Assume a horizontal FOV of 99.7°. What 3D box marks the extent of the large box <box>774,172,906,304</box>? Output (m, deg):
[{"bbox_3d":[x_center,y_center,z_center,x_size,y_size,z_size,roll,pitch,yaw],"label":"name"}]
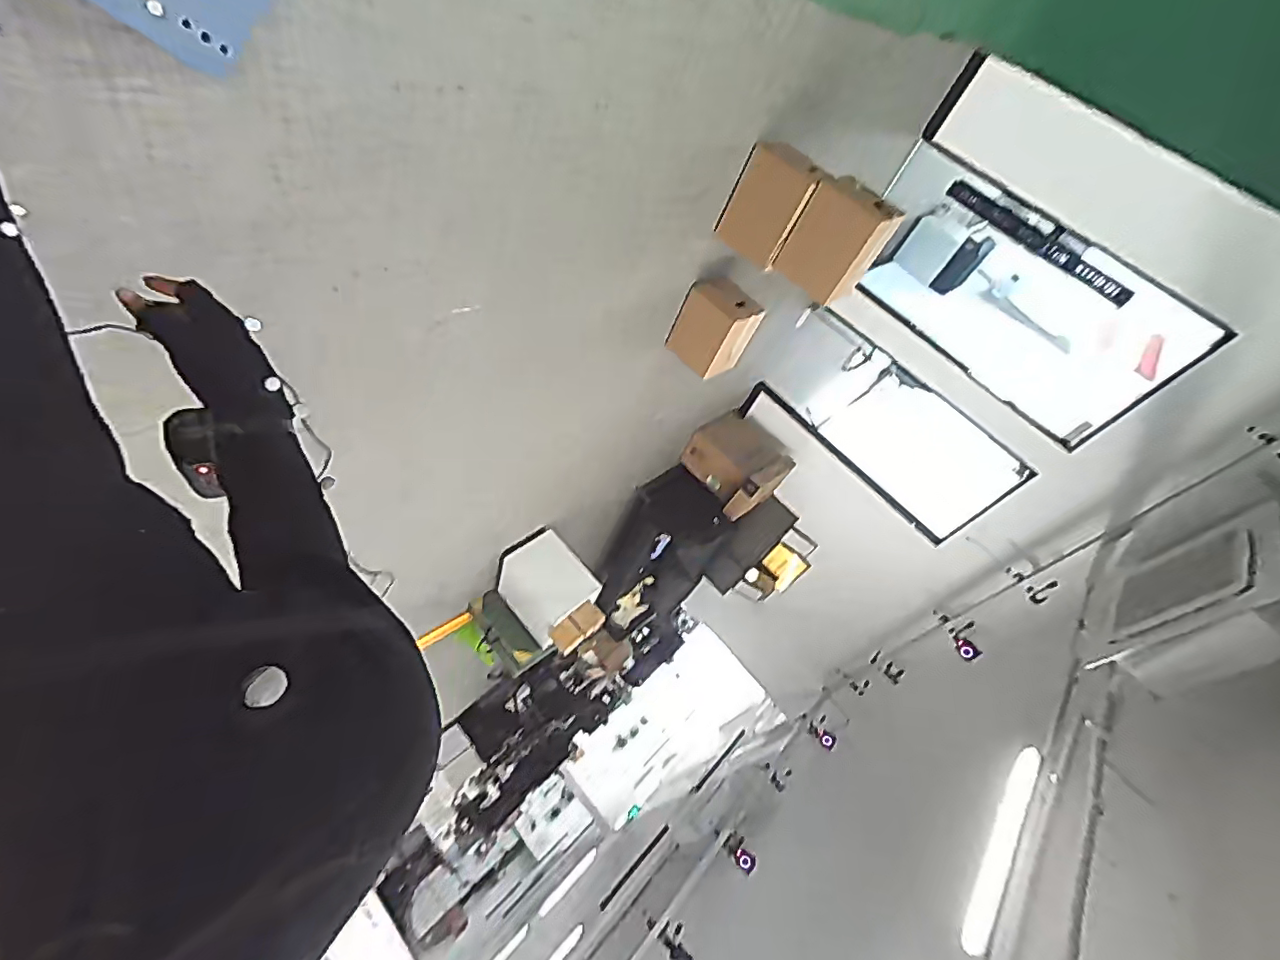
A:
[{"bbox_3d":[0.860,-1.057,2.356,0.320,0.320,0.408,-34,162,-41],"label":"large box"}]
